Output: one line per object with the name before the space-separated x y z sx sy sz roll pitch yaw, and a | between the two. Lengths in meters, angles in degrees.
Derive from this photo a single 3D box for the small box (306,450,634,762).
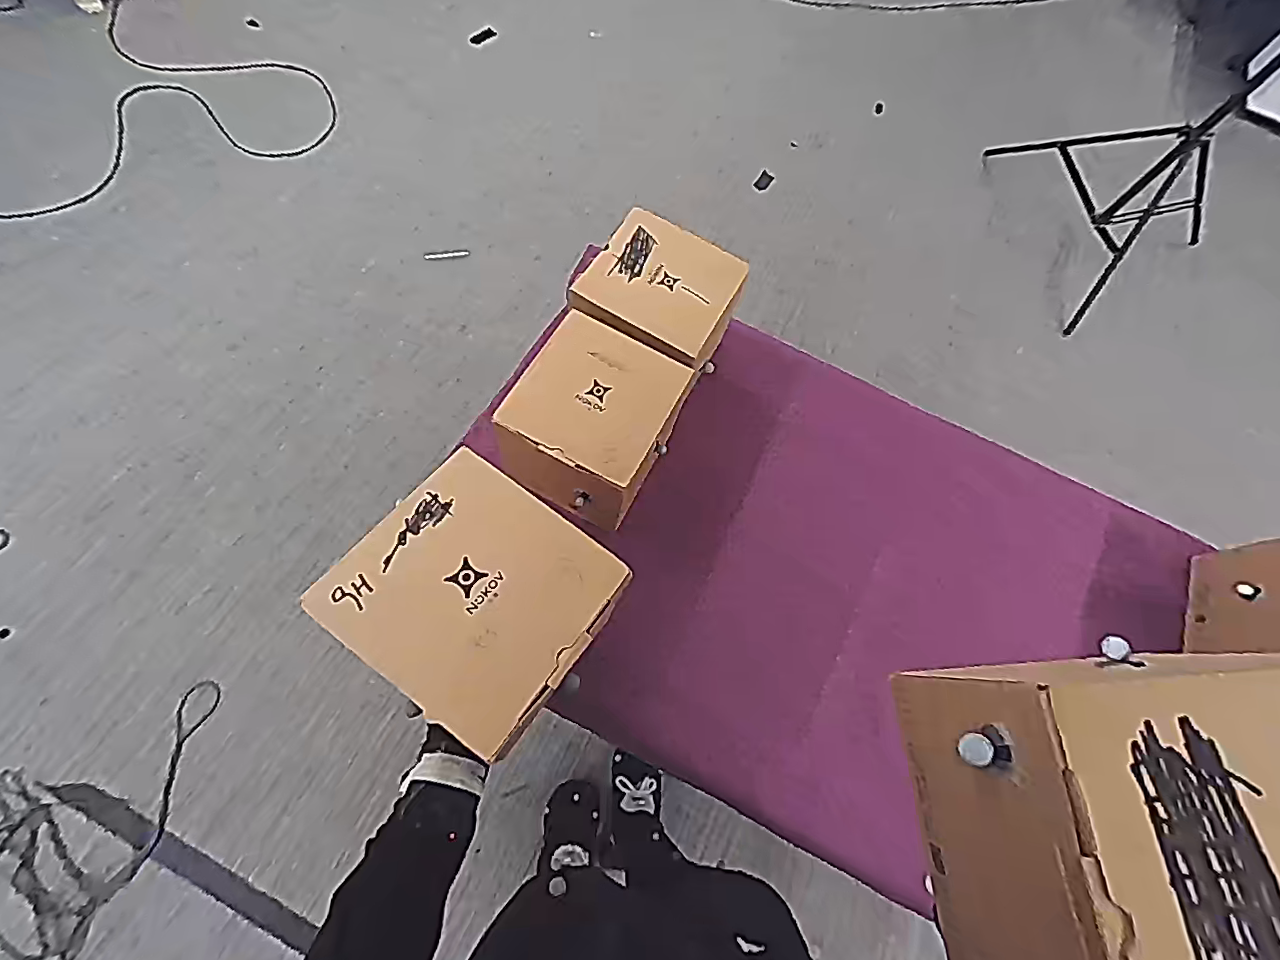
small box | -0.132 0.112 0.469 0.179 0.176 0.168 36 63 7

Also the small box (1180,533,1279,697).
small box | 0.846 0.181 0.681 0.179 0.176 0.168 28 69 4

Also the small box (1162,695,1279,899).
small box | 0.746 0.364 0.602 0.168 0.176 0.179 31 67 7

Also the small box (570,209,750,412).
small box | 0.019 -0.221 0.745 0.179 0.176 0.168 29 70 4
